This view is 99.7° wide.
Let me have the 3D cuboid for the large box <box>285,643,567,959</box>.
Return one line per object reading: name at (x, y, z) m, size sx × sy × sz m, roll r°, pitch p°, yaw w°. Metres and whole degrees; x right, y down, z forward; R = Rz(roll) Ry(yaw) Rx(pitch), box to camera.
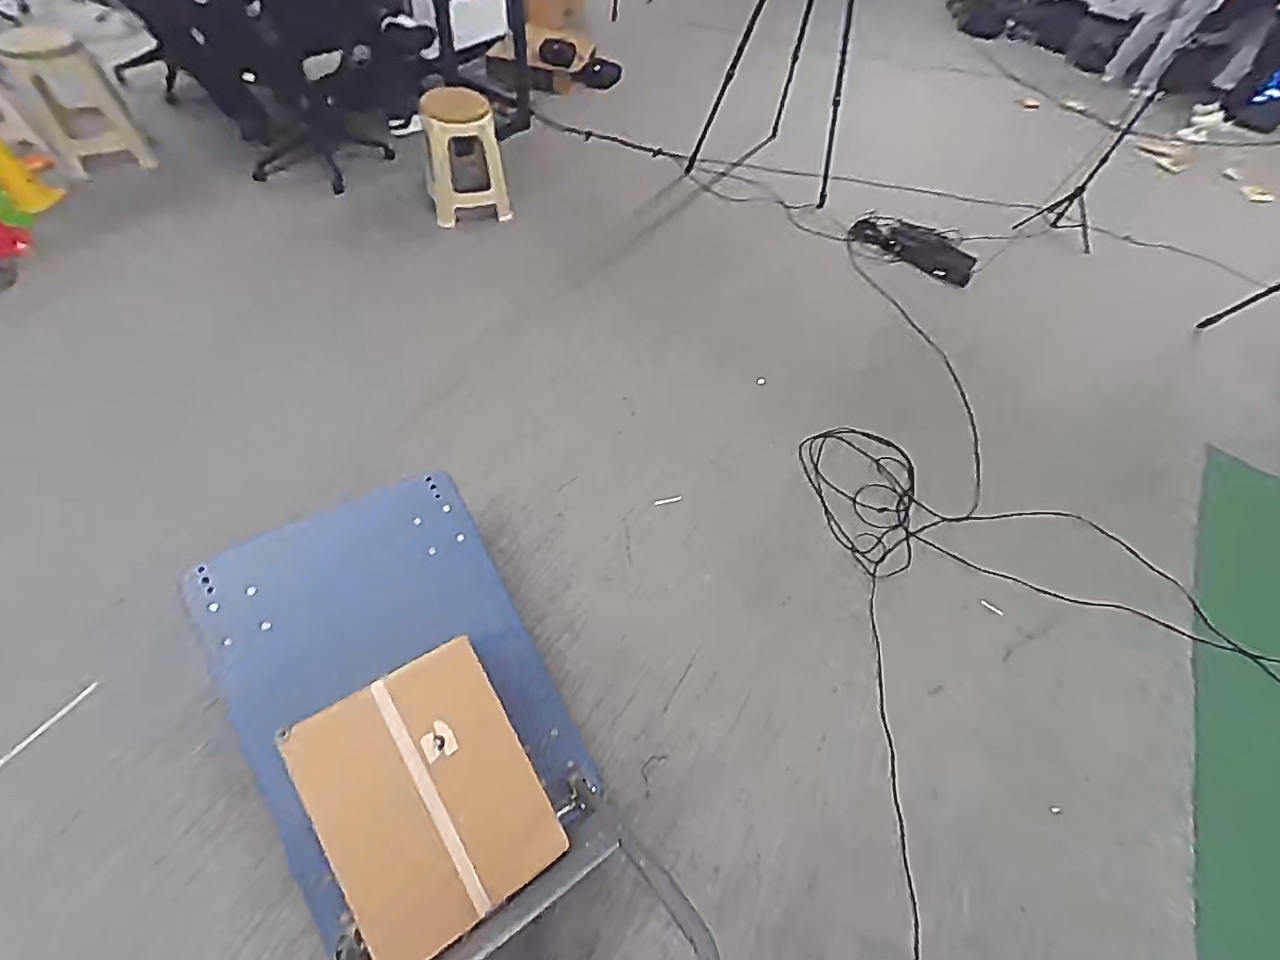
large box at (-0.385, 0.569, 1.030) m, size 0.320 × 0.320 × 0.408 m, roll -26°, pitch 81°, yaw -24°
